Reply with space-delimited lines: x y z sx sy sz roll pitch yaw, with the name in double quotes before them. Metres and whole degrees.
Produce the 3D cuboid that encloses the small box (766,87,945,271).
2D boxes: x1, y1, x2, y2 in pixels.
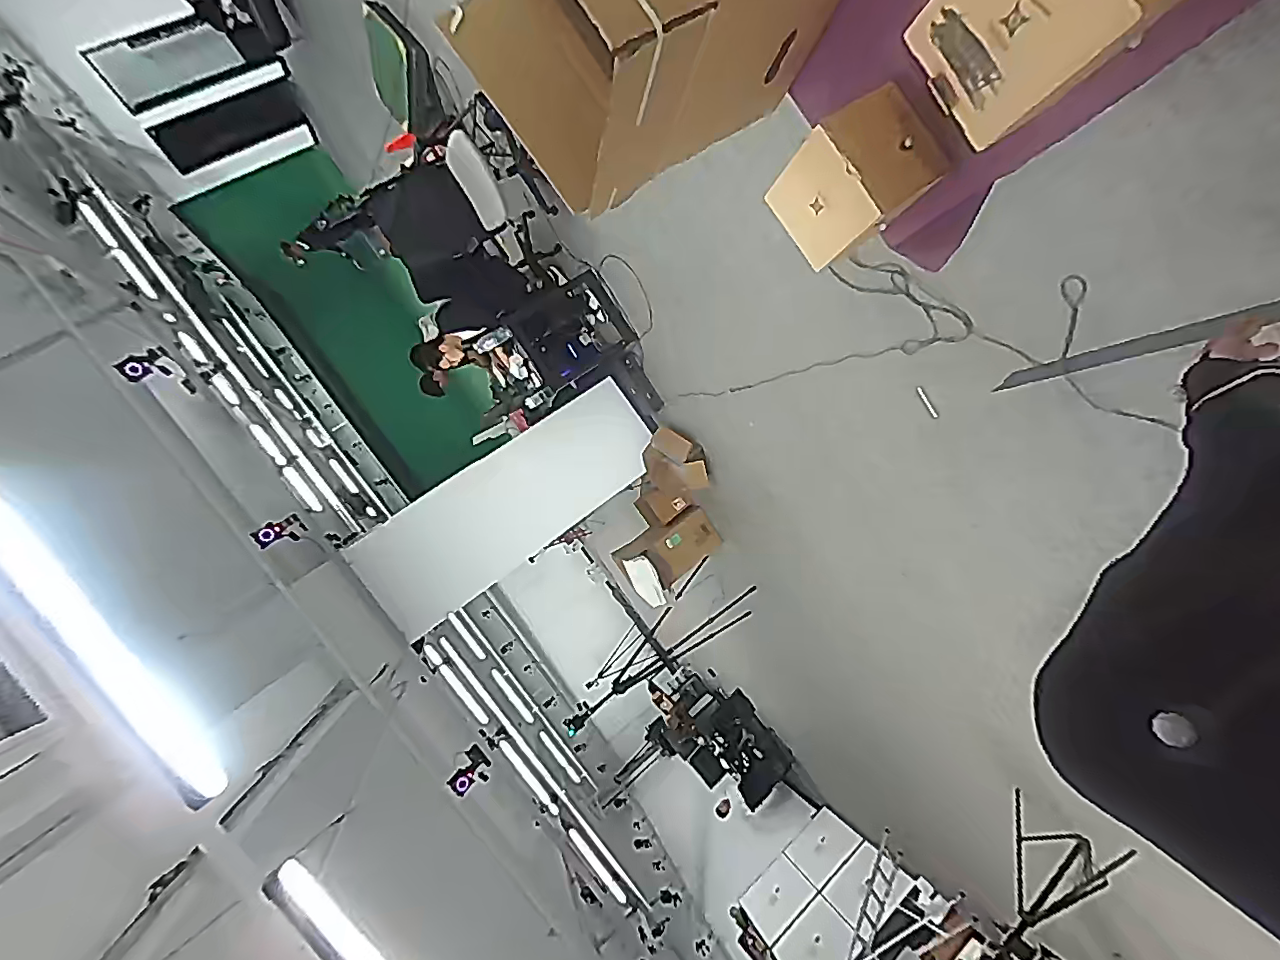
"small box" 0.349 -0.488 0.890 0.168 0.176 0.179 54 163 -2
